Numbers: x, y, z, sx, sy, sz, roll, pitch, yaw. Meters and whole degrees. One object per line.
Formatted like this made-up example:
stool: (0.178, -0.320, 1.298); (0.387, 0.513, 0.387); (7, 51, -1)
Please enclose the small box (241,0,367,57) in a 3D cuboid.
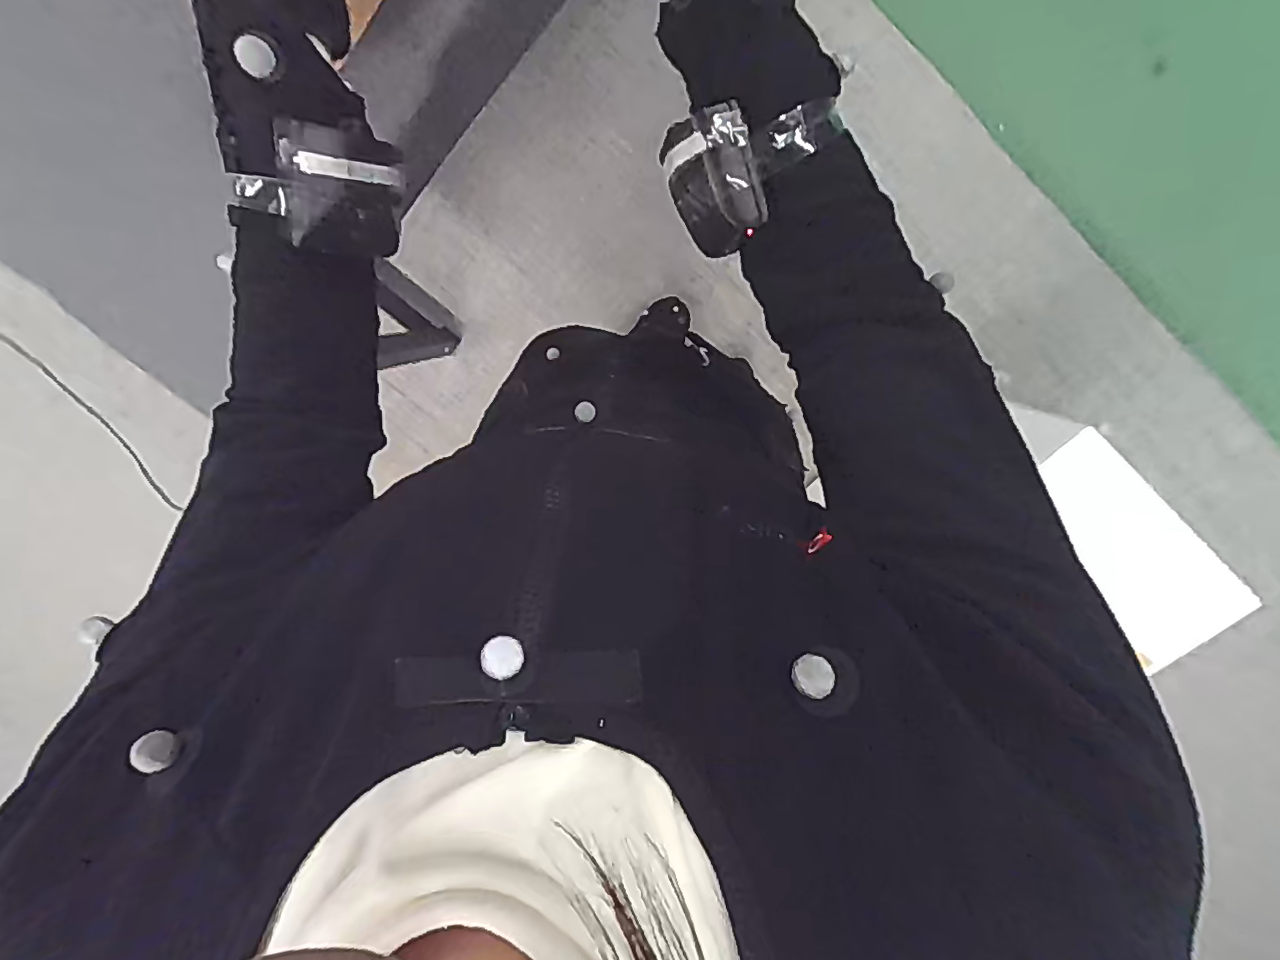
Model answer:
small box: (-0.330, -0.524, 0.462); (0.168, 0.176, 0.179); (44, 107, -8)
